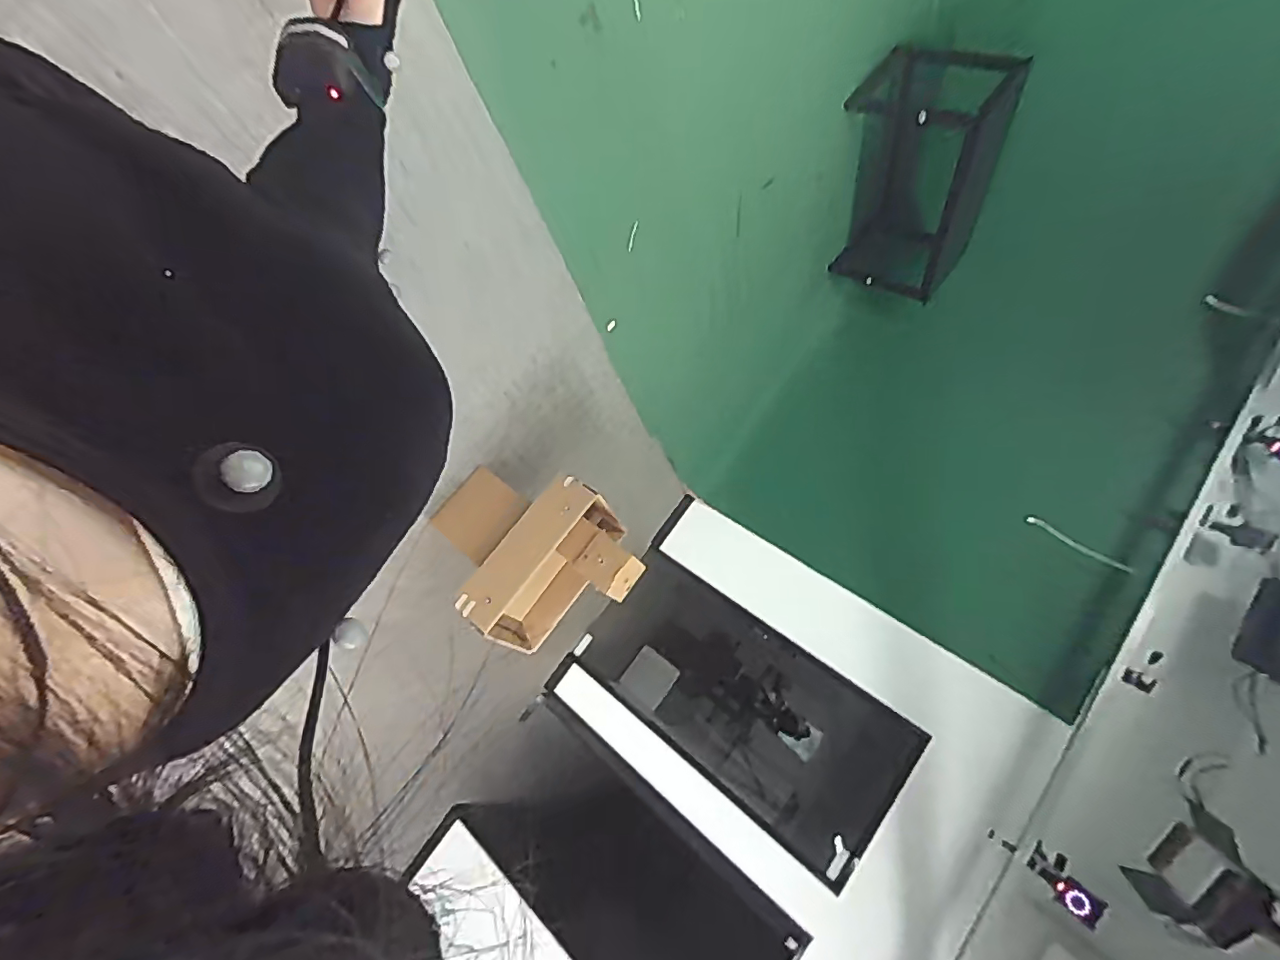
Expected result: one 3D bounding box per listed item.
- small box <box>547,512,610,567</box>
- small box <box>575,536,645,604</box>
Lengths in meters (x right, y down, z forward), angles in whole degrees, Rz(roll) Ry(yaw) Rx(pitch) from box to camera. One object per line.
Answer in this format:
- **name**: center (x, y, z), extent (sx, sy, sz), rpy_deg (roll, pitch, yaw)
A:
- **small box**: center (-0.225, 0.249, 2.084), extent (0.168, 0.176, 0.179), rpy_deg (-53, 152, -9)
- **small box**: center (-0.112, 0.328, 1.994), extent (0.168, 0.176, 0.179), rpy_deg (-52, 151, -9)
